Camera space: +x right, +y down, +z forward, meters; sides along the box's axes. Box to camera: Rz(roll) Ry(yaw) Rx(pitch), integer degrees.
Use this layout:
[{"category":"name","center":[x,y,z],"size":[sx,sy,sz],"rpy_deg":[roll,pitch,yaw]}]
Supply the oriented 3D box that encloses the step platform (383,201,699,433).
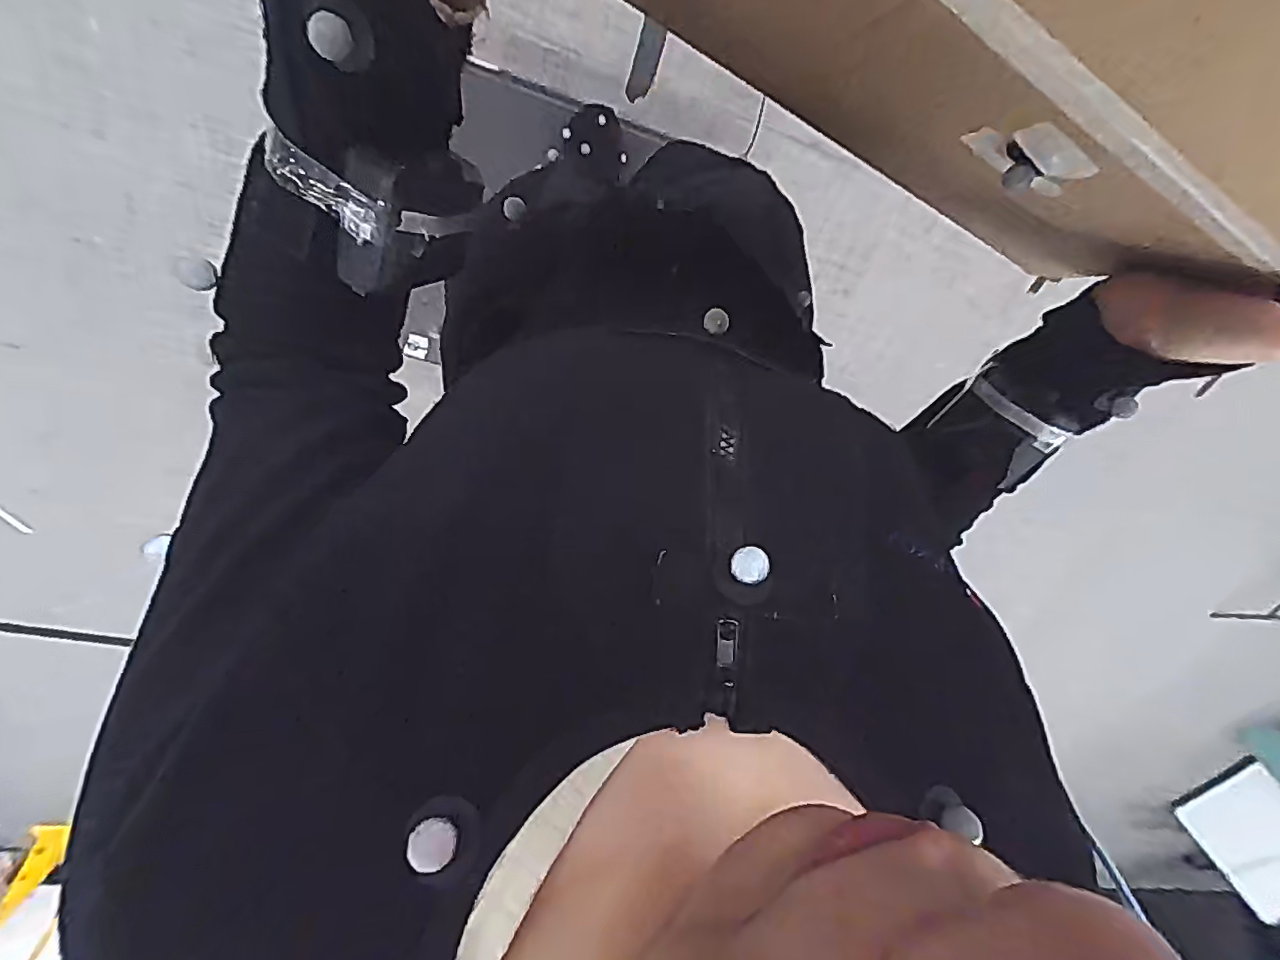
[{"category":"step platform","center":[-0.209,-0.355,1.239],"size":[0.684,0.204,0.286],"rpy_deg":[19,121,-16]}]
